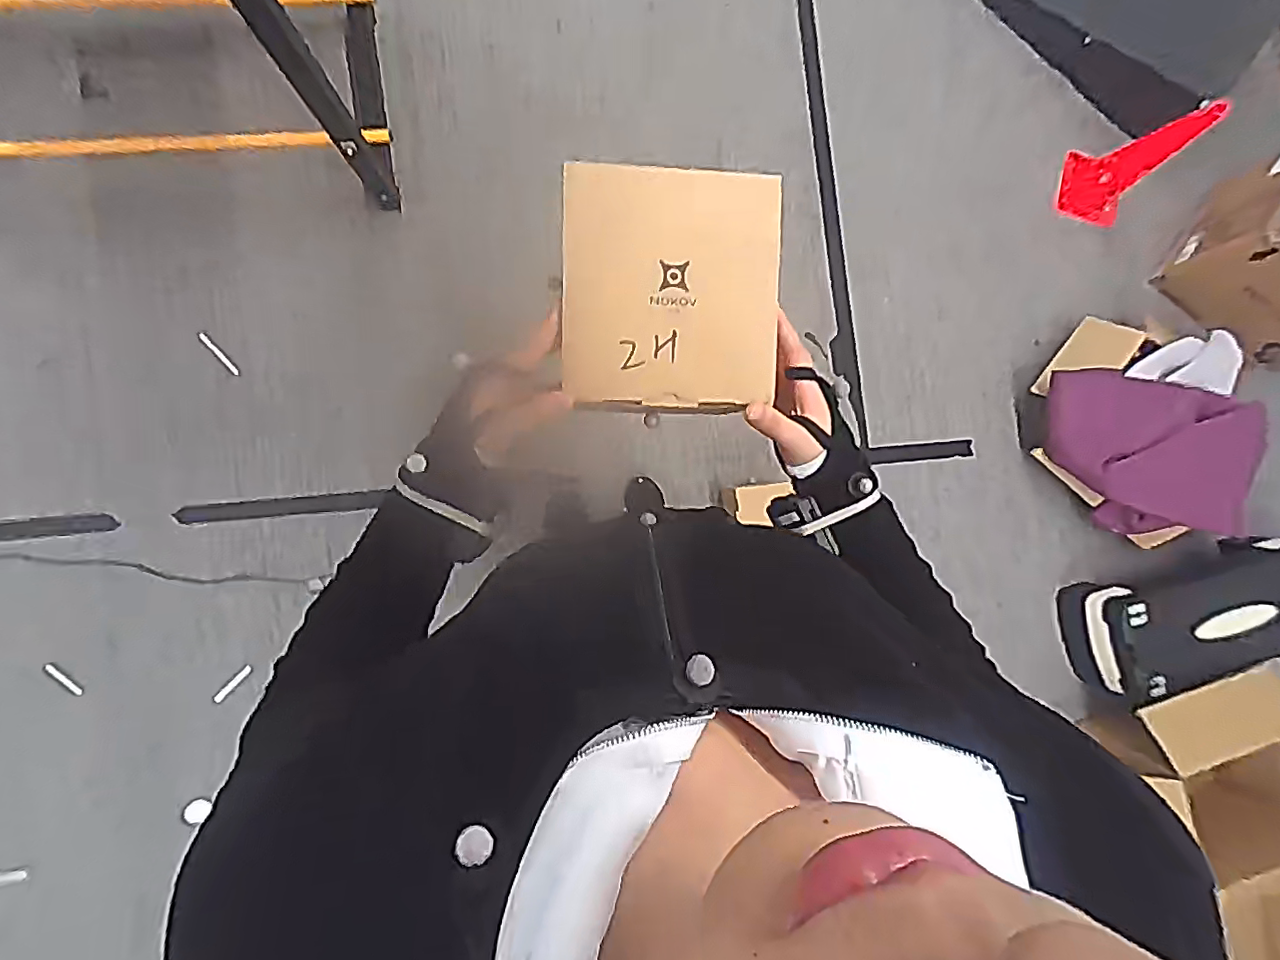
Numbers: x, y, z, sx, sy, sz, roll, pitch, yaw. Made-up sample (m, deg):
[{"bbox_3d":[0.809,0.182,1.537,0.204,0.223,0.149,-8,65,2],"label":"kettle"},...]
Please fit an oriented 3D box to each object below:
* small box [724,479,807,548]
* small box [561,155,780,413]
[{"bbox_3d":[0.331,0.090,1.463,0.179,0.176,0.168,-6,89,-4],"label":"small box"},{"bbox_3d":[0.016,-0.155,0.486,0.168,0.176,0.179,1,94,-5],"label":"small box"}]
